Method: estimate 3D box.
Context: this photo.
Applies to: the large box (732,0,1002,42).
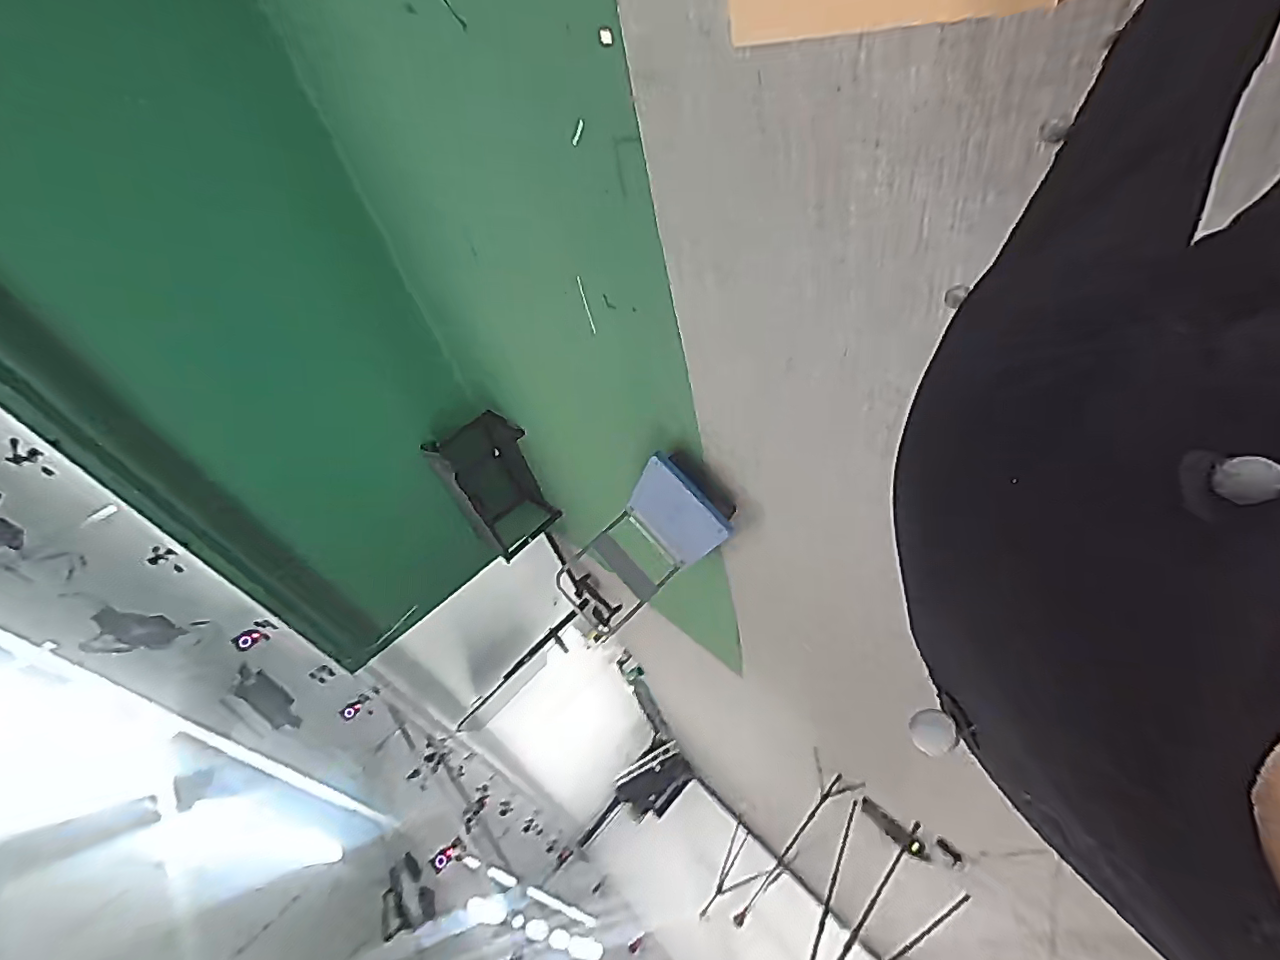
[{"bbox_3d":[0.338,-0.738,0.592,0.408,0.320,0.320,29,151,38],"label":"large box"}]
